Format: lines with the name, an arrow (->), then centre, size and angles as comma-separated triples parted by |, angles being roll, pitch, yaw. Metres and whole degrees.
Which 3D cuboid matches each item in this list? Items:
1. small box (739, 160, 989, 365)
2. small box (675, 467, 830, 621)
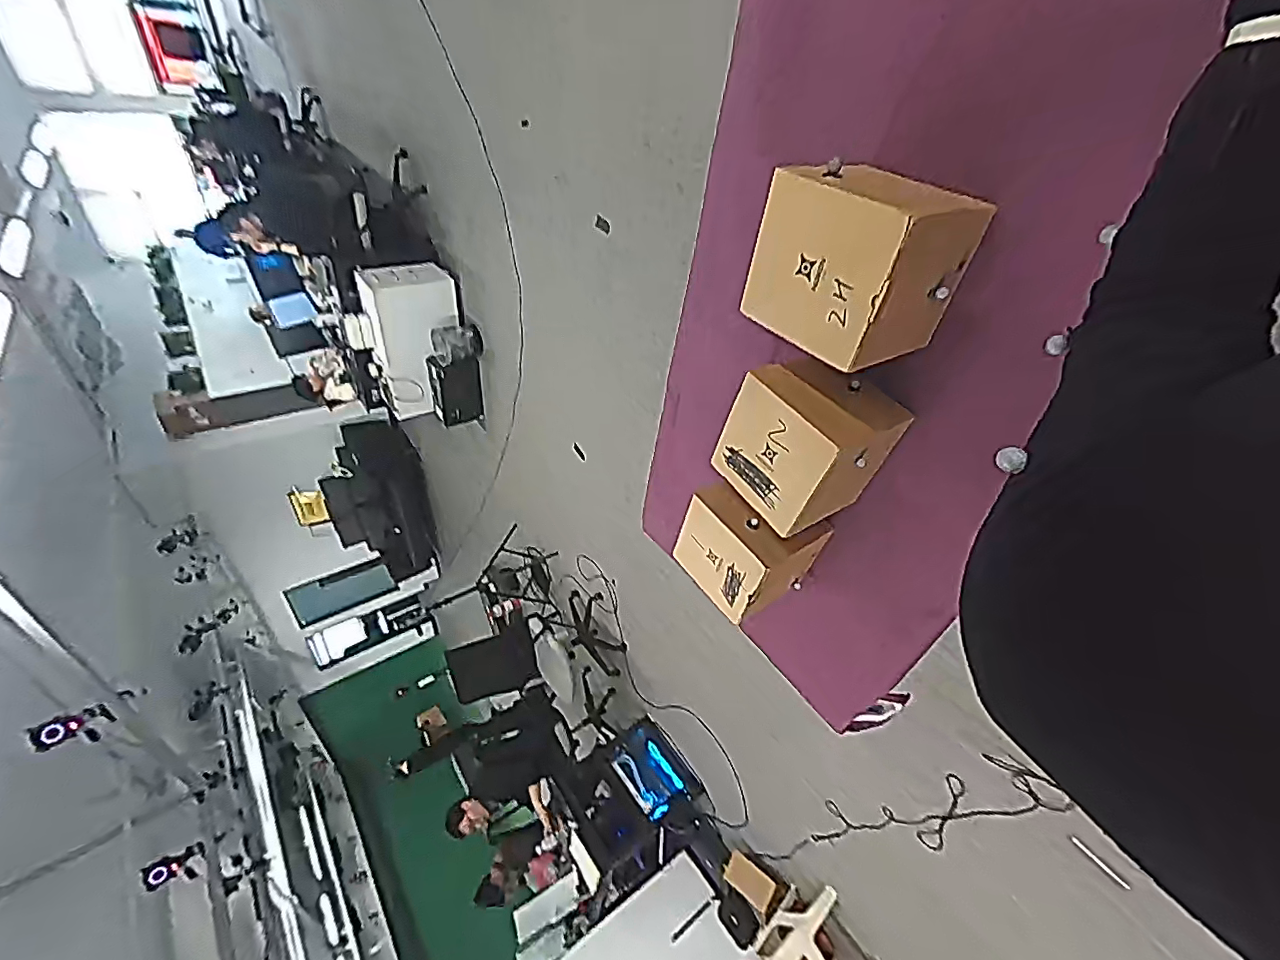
small box -> 0.250, -0.258, 0.628 | 0.179, 0.176, 0.168 | 45, 142, 35
small box -> 0.192, 0.103, 0.937 | 0.179, 0.176, 0.168 | 48, 143, 31
